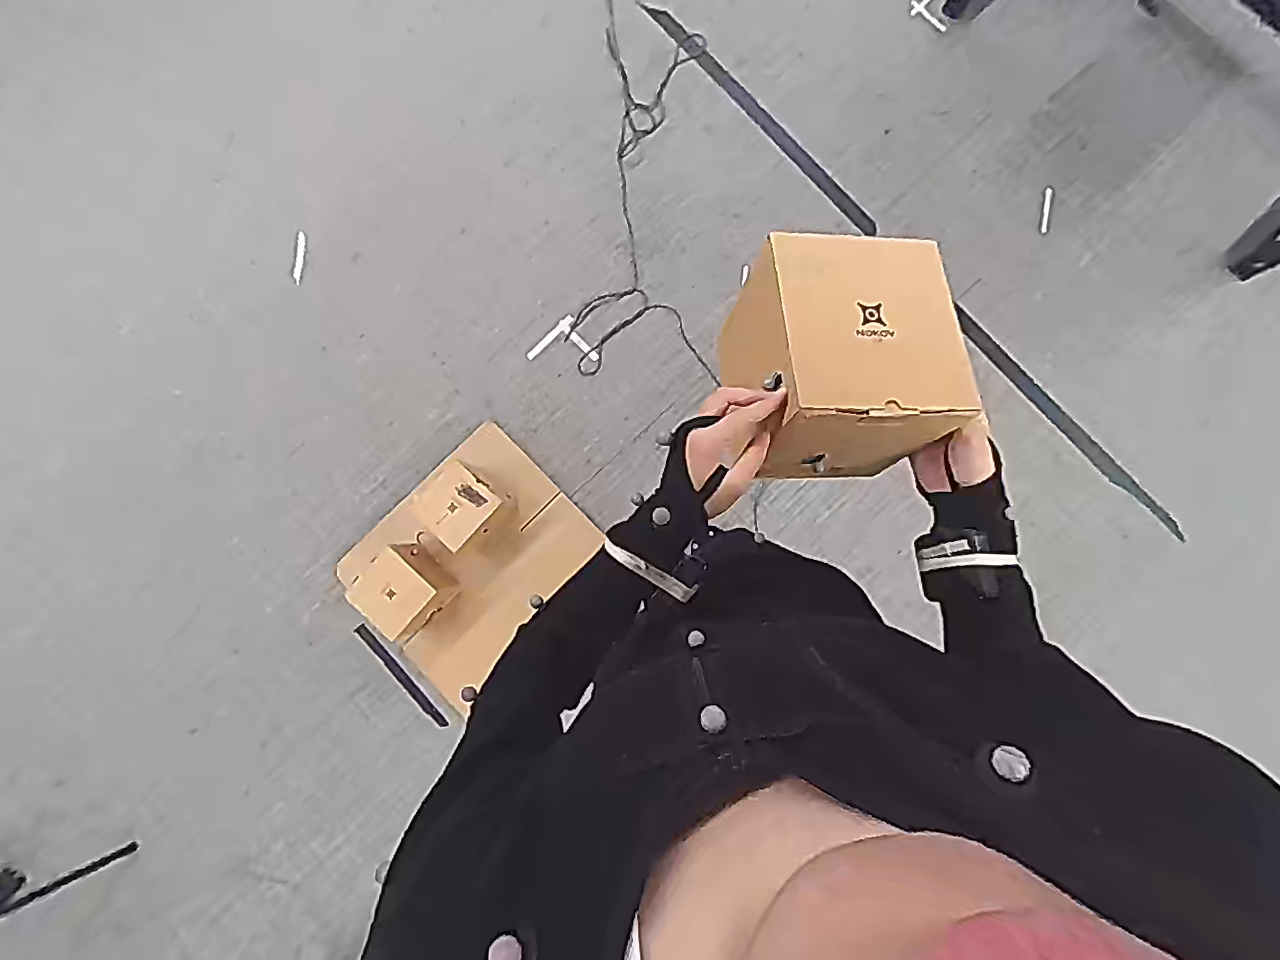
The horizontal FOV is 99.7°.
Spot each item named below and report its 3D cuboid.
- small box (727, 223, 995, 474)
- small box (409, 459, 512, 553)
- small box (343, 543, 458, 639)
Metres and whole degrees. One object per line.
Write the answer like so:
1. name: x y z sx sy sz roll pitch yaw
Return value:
1. small box: 0.192 -0.115 0.527 0.168 0.176 0.179 -1 72 -9
2. small box: -0.457 0.071 1.416 0.168 0.176 0.179 42 86 4
3. small box: -0.610 0.281 1.399 0.179 0.176 0.168 40 87 4
